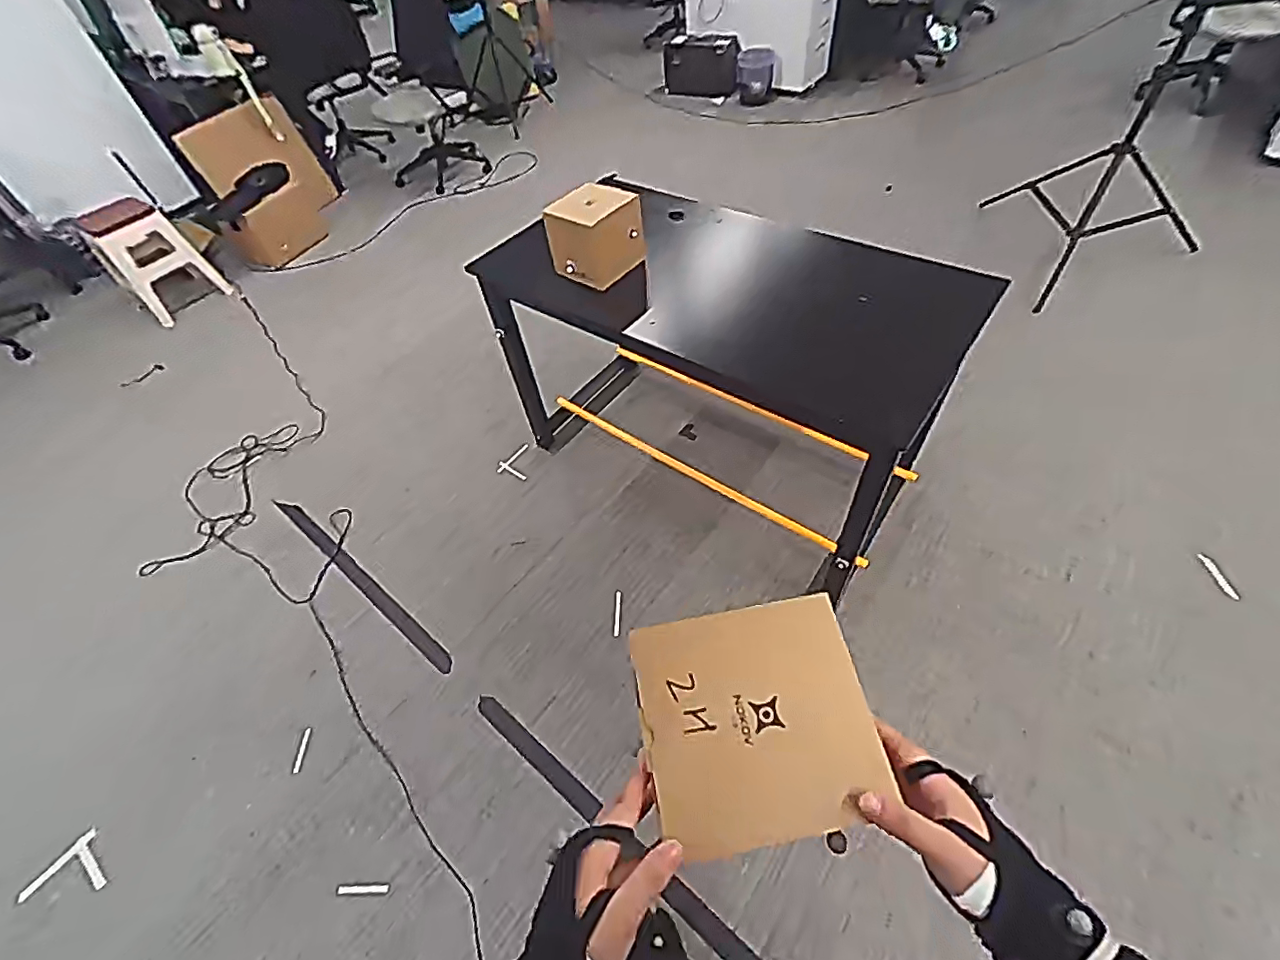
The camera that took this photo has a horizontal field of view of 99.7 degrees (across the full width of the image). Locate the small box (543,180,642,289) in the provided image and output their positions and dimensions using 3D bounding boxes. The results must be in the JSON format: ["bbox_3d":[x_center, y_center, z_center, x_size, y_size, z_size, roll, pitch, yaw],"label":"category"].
[{"bbox_3d":[-0.109,-0.609,1.342,0.168,0.176,0.179,29,61,27],"label":"small box"}]

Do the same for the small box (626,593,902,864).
[{"bbox_3d":[0.087,0.214,0.477,0.179,0.176,0.168,-10,61,-3],"label":"small box"}]
